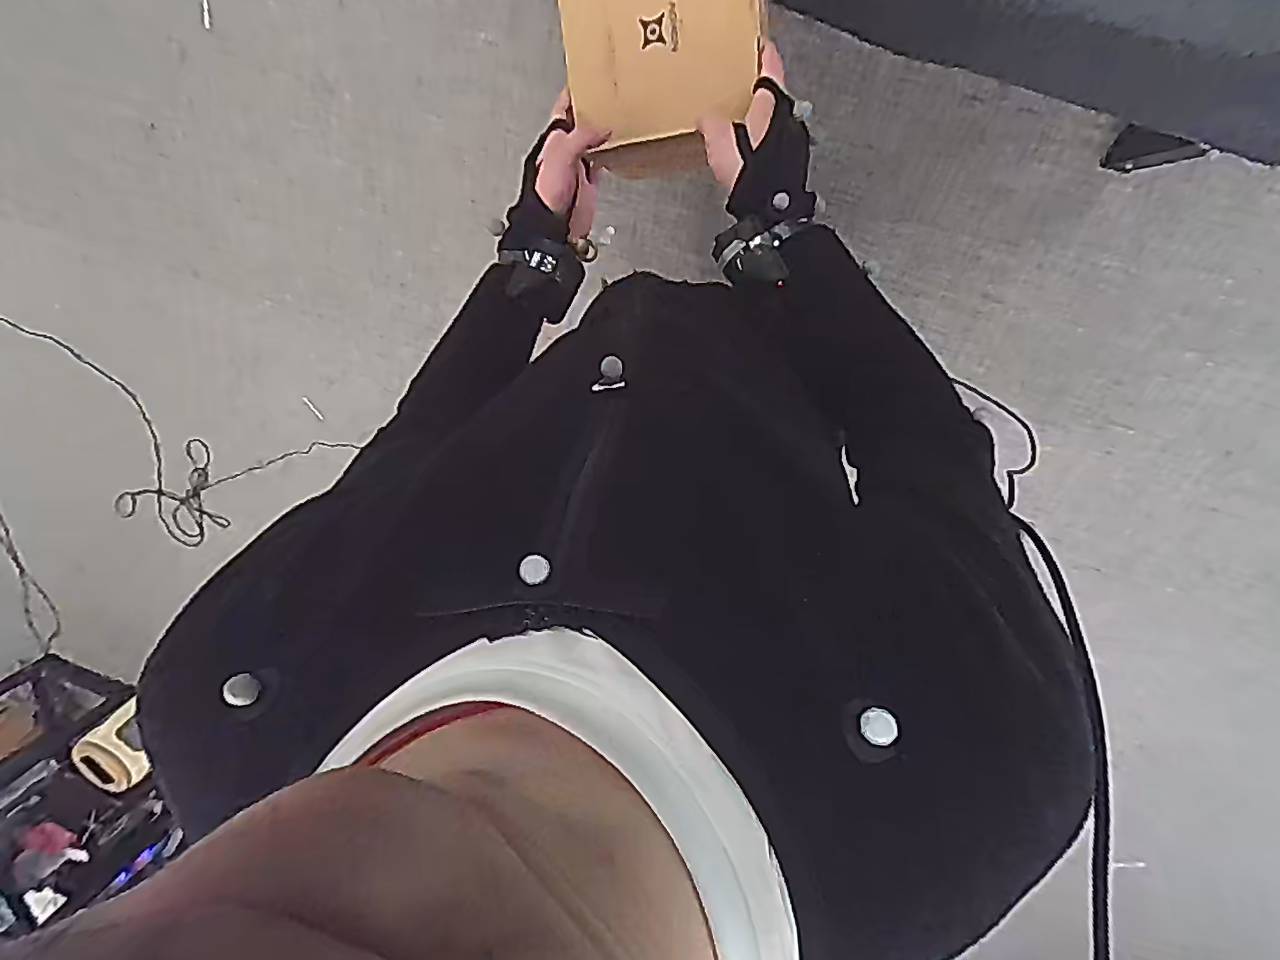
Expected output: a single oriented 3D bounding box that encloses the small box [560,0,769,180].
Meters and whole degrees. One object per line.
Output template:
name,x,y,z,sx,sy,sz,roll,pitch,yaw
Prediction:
small box,0.036,-0.411,0.532,0.179,0.176,0.168,0,107,16
